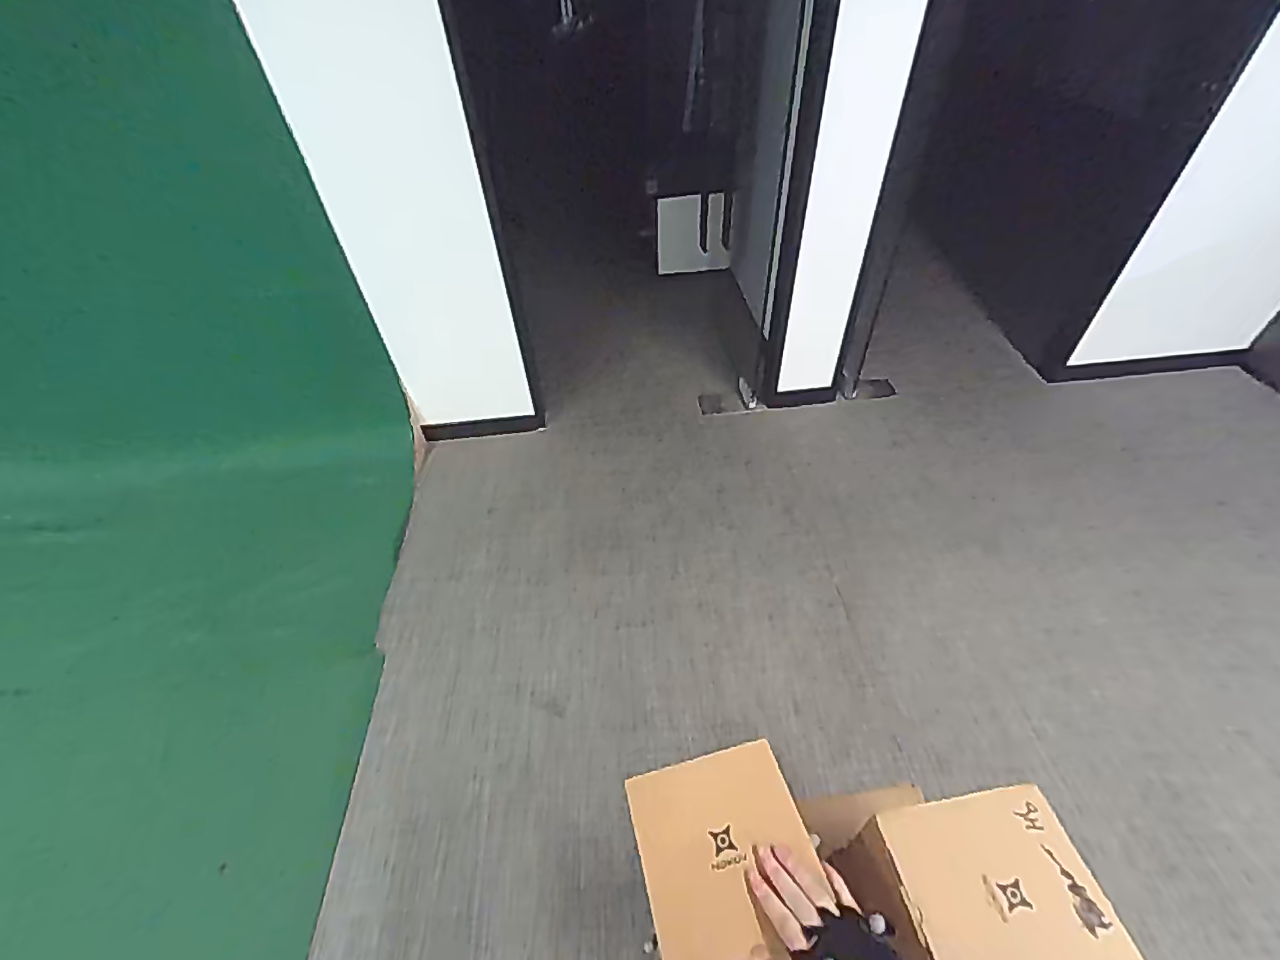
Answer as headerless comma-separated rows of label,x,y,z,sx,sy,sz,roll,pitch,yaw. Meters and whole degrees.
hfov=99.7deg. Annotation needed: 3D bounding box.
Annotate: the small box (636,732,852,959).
small box,0.097,0.413,0.585,0.168,0.176,0.179,-13,40,-8
